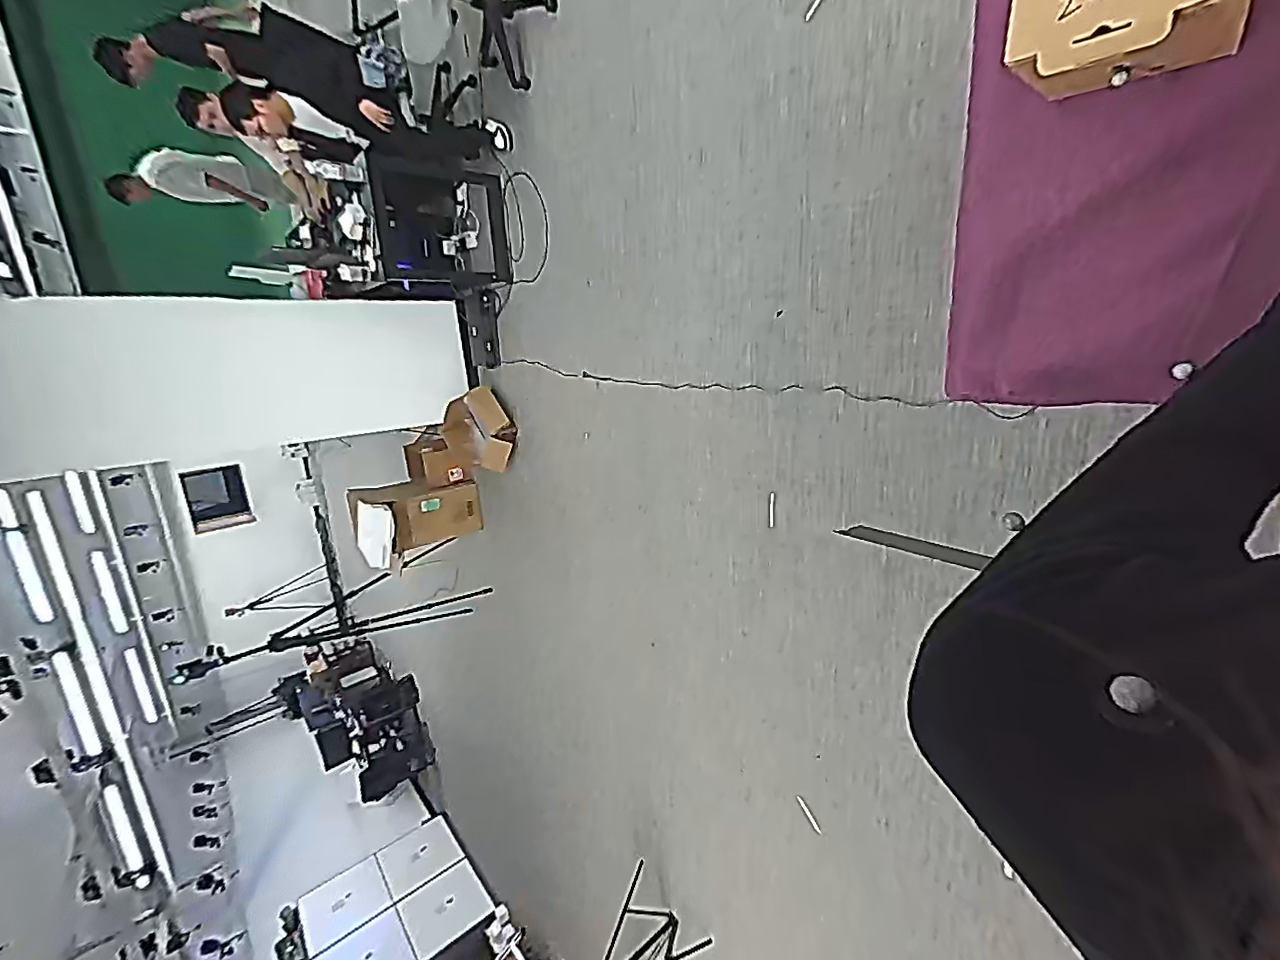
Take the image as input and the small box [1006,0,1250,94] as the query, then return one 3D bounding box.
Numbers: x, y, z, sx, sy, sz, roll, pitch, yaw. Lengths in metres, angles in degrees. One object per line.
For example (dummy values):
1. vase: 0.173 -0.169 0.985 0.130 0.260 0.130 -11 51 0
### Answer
1. small box: 0.501 -0.527 0.541 0.168 0.176 0.179 18 116 47
